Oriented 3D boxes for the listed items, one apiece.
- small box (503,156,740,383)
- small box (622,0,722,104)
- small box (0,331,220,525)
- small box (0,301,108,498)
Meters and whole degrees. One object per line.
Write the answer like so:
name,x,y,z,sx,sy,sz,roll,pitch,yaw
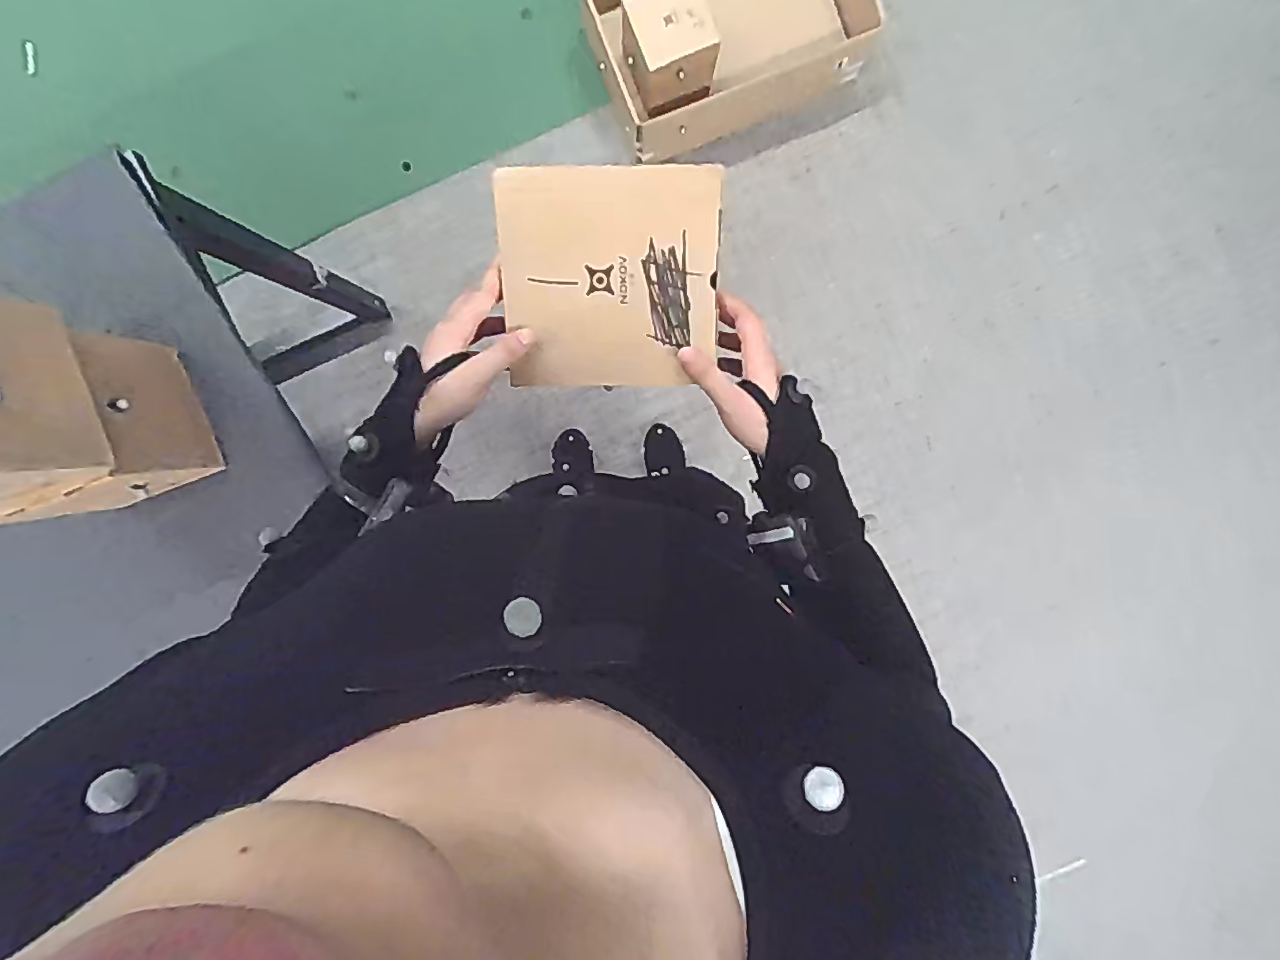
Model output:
small box,-0.015,-0.184,0.493,0.179,0.176,0.168,-1,108,0
small box,0.069,-1.019,1.247,0.179,0.176,0.168,-23,97,0
small box,-0.659,-0.063,0.643,0.168,0.176,0.179,-20,94,1
small box,-0.646,-0.065,0.479,0.168,0.176,0.179,-17,96,1
